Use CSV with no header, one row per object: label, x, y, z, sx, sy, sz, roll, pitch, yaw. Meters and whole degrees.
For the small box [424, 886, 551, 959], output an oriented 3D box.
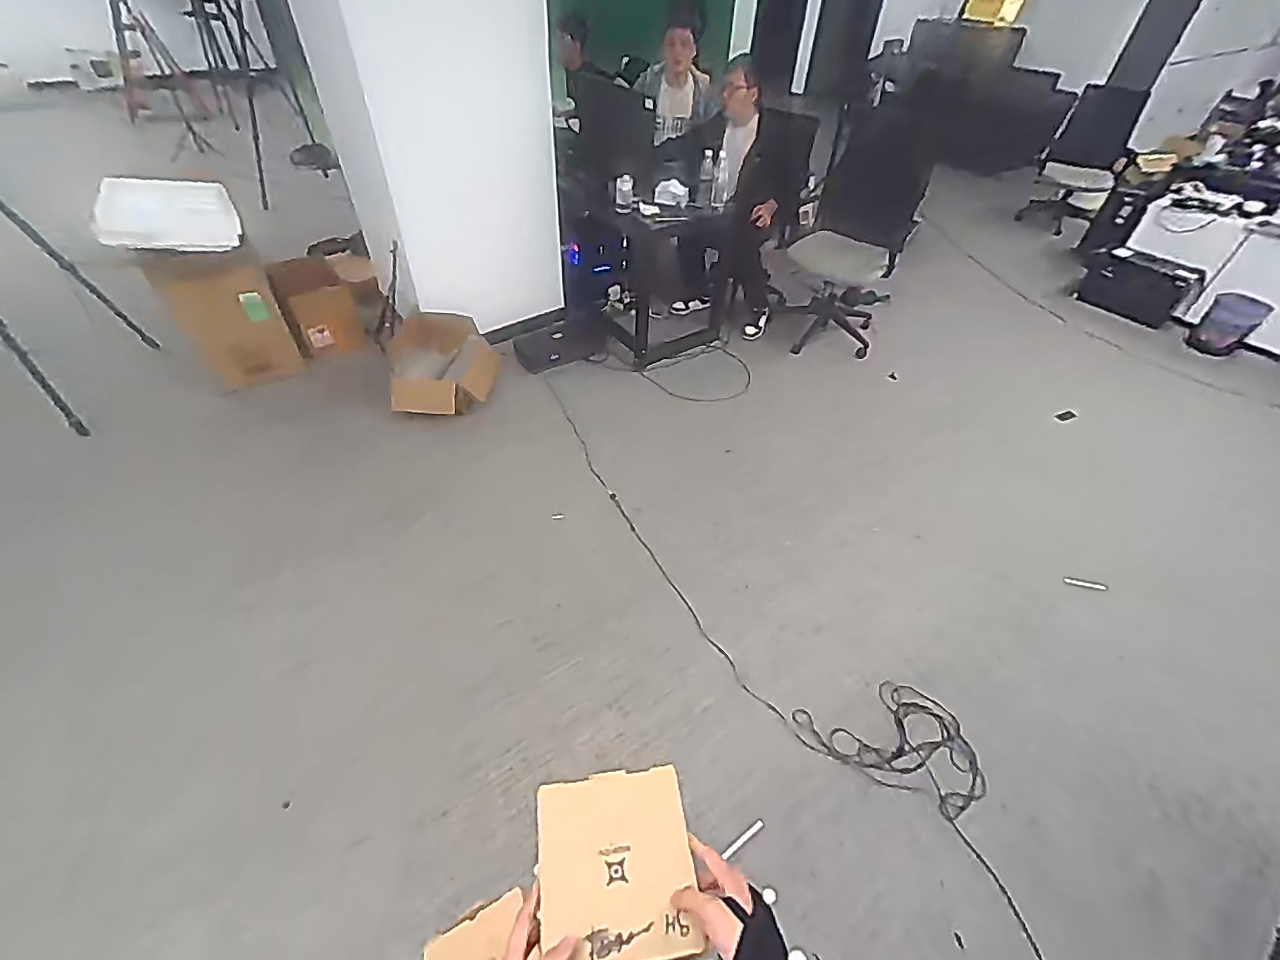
small box,-0.236,0.821,0.890,0.168,0.176,0.179,-21,49,-20
